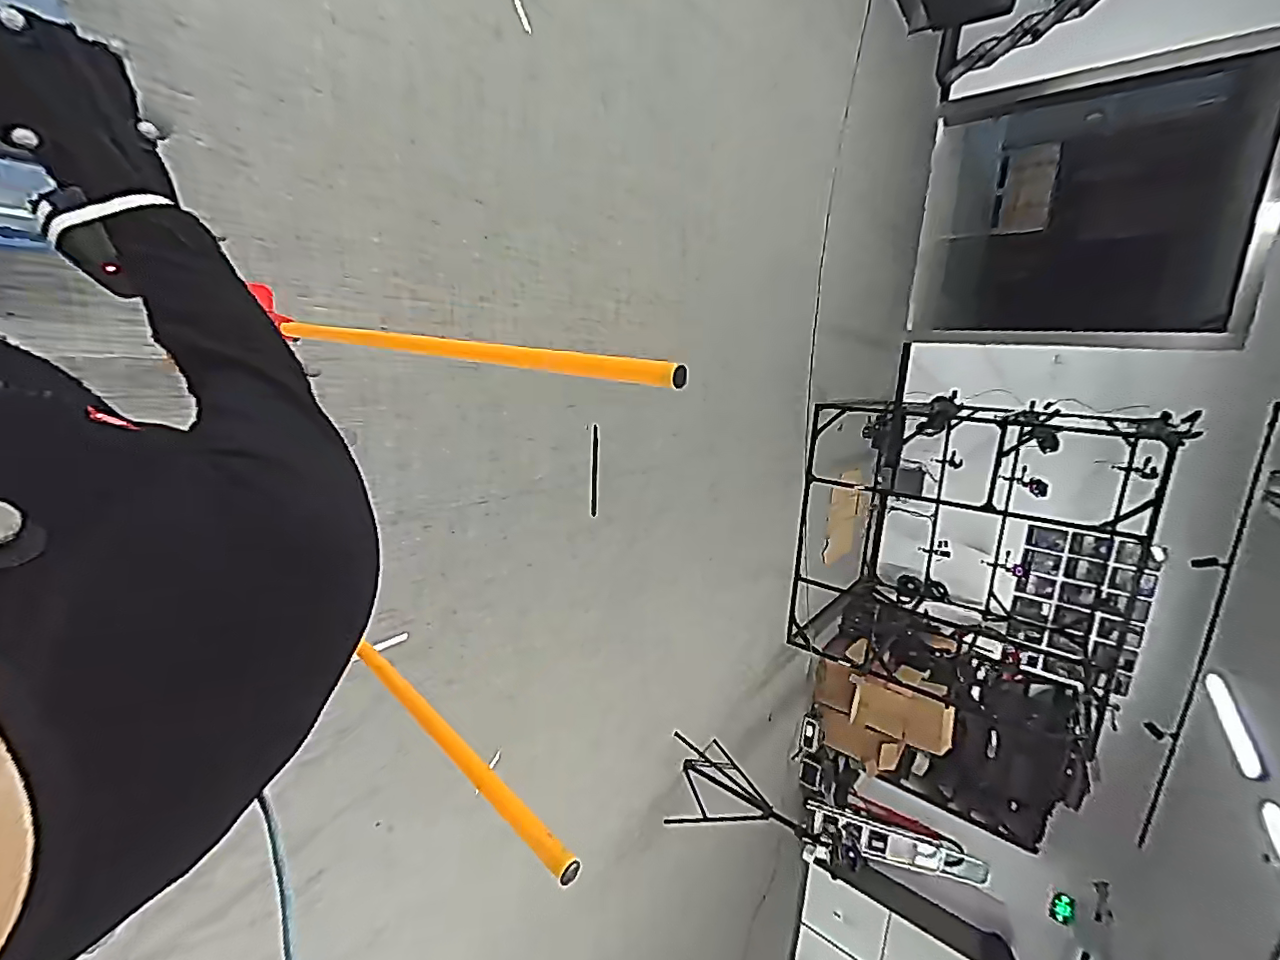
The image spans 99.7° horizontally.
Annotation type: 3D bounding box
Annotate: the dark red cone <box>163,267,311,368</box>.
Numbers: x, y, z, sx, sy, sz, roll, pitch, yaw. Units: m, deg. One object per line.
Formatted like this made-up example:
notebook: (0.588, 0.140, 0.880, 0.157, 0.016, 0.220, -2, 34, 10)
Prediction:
dark red cone: (-0.768, -0.320, 1.080, 0.201, 0.394, 0.202, -13, 111, -53)
